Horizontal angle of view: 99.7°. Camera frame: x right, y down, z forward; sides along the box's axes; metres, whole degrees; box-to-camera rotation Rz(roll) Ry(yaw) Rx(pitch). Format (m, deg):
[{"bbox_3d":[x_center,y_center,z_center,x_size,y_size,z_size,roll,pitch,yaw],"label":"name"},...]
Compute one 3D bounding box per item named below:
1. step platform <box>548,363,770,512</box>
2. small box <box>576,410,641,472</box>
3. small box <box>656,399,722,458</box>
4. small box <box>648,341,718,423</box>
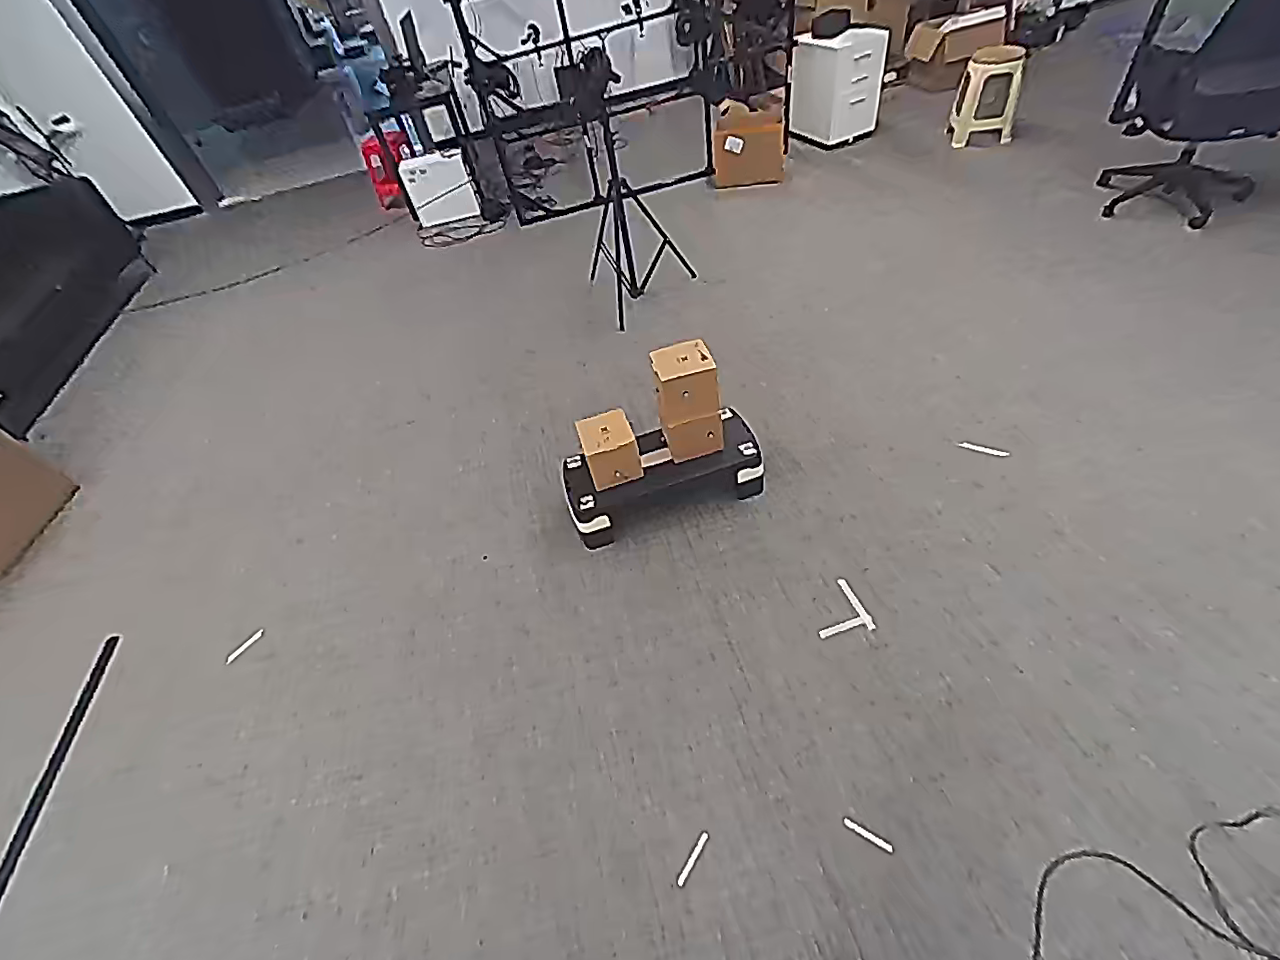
[{"bbox_3d":[0.061,-0.136,1.733,0.684,0.204,0.286,-18,47,-5],"label":"step platform"},{"bbox_3d":[-0.102,-0.095,1.778,0.168,0.176,0.179,-18,47,-4],"label":"small box"},{"bbox_3d":[0.164,-0.180,1.800,0.179,0.176,0.168,-17,46,-4],"label":"small box"},{"bbox_3d":[0.136,-0.303,1.695,0.179,0.176,0.168,-16,47,-1],"label":"small box"}]
